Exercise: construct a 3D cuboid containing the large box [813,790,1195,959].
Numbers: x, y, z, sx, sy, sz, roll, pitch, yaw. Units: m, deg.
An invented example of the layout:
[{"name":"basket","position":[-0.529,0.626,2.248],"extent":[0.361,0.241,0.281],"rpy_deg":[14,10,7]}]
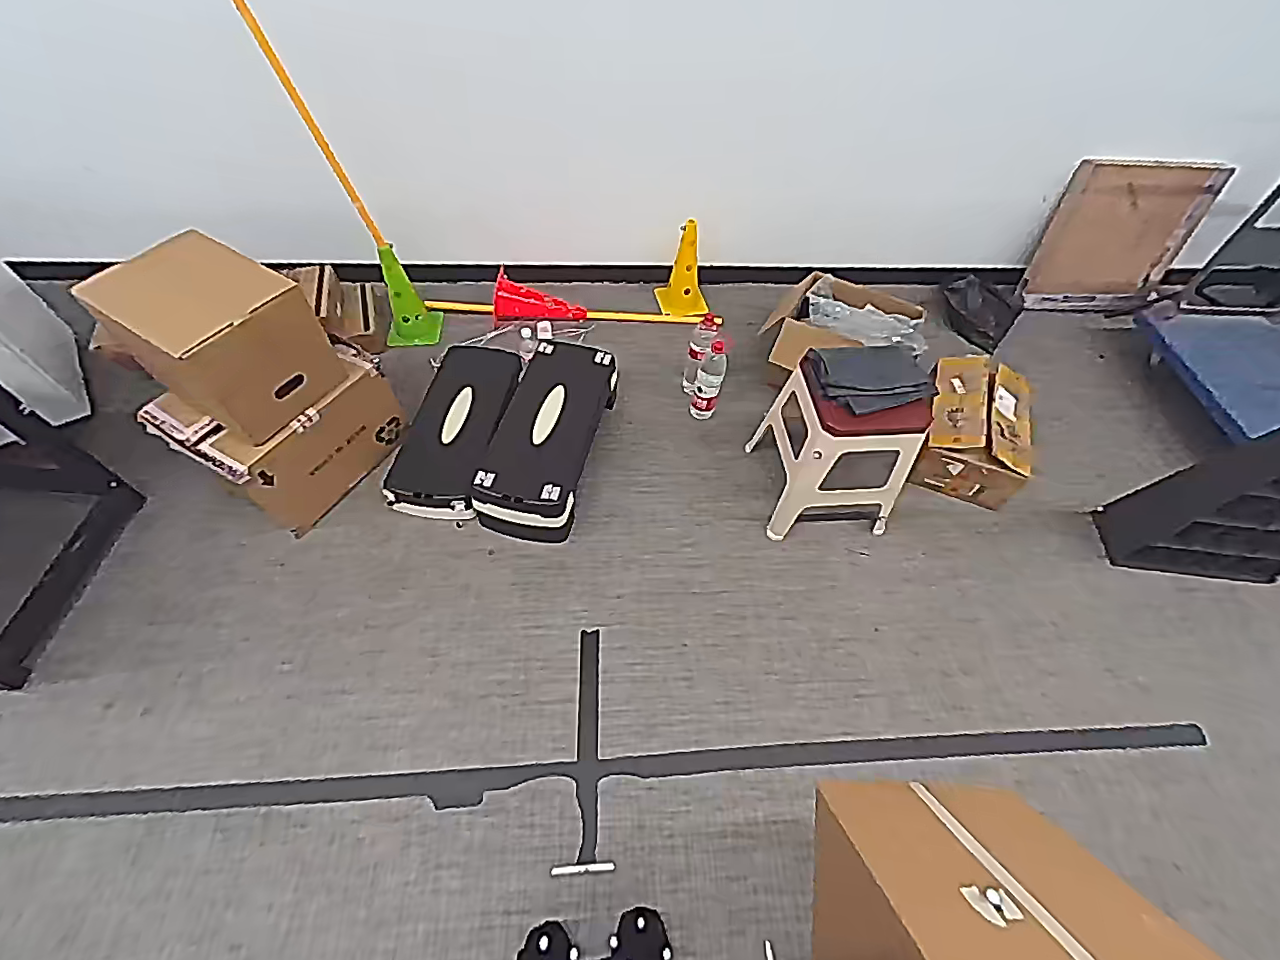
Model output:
[{"name":"large box","position":[0.433,0.653,0.663],"extent":[0.320,0.408,0.320],"rpy_deg":[3,89,0]}]
